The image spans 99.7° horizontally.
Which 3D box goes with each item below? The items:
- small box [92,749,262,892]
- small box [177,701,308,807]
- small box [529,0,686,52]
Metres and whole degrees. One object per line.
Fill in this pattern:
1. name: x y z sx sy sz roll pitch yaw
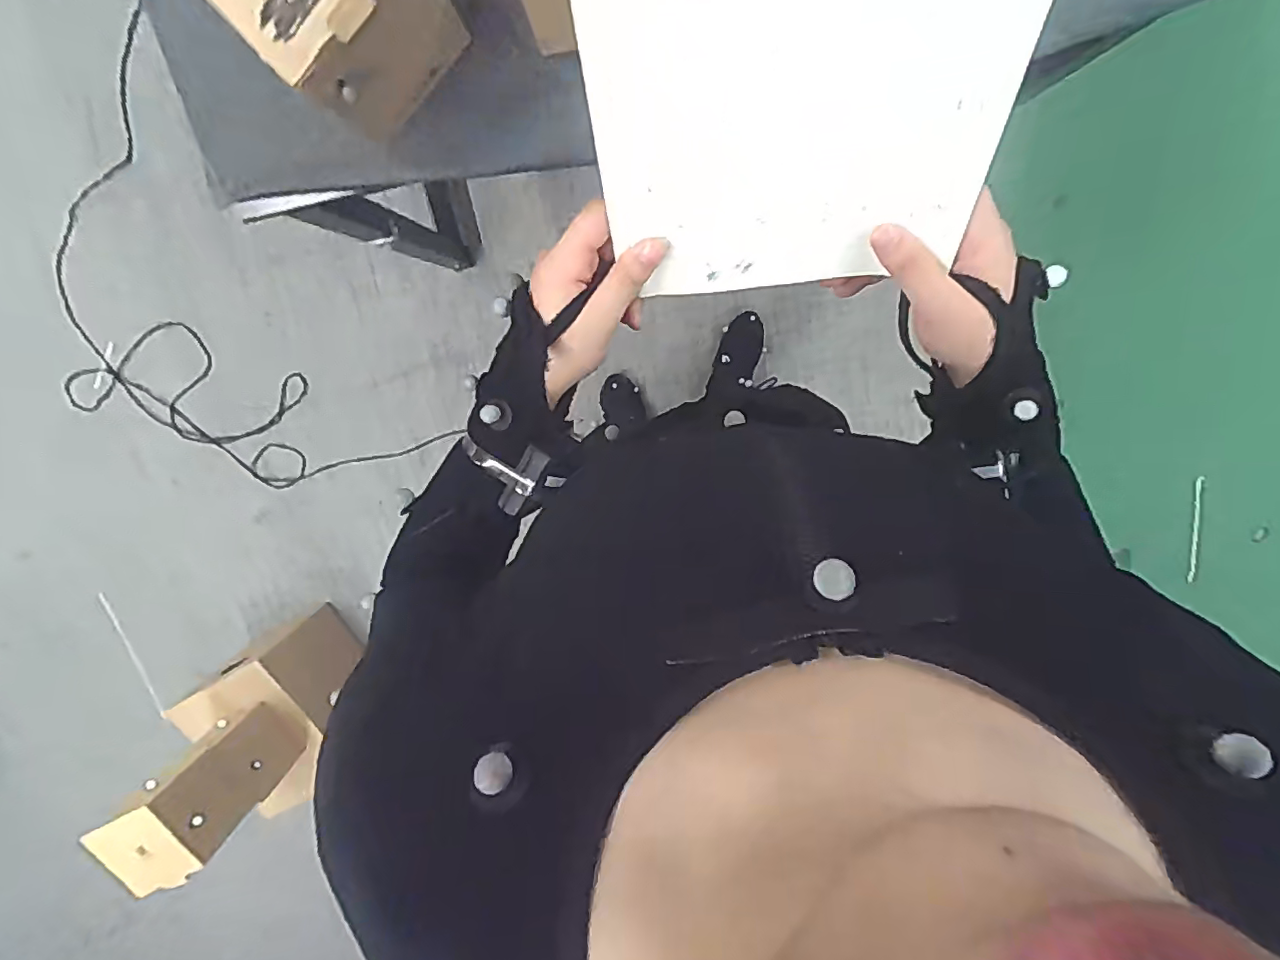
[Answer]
1. small box: -0.966 0.708 1.147 0.168 0.176 0.179 -28 103 7
2. small box: -0.958 0.678 1.307 0.168 0.176 0.179 -28 102 7
3. small box: -0.043 -0.563 0.518 0.168 0.176 0.179 -7 104 4
